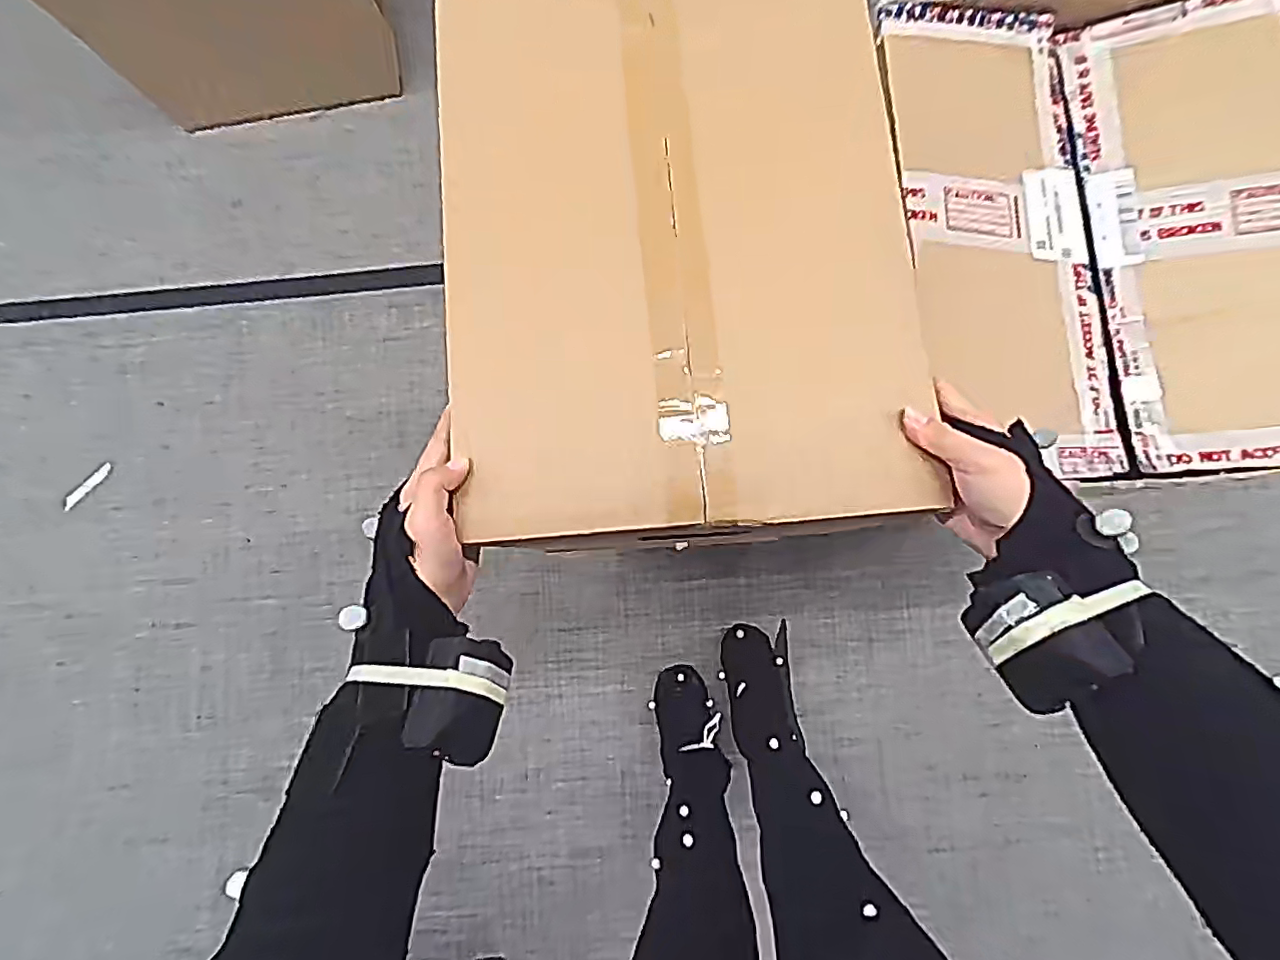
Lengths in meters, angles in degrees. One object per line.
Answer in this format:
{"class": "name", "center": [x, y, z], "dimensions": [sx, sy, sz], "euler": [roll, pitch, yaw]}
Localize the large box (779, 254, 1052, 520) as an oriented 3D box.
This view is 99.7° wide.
{"class": "large box", "center": [0.465, -0.141, 0.995], "dimensions": [0.320, 0.320, 0.408], "euler": [-5, 85, 2]}
